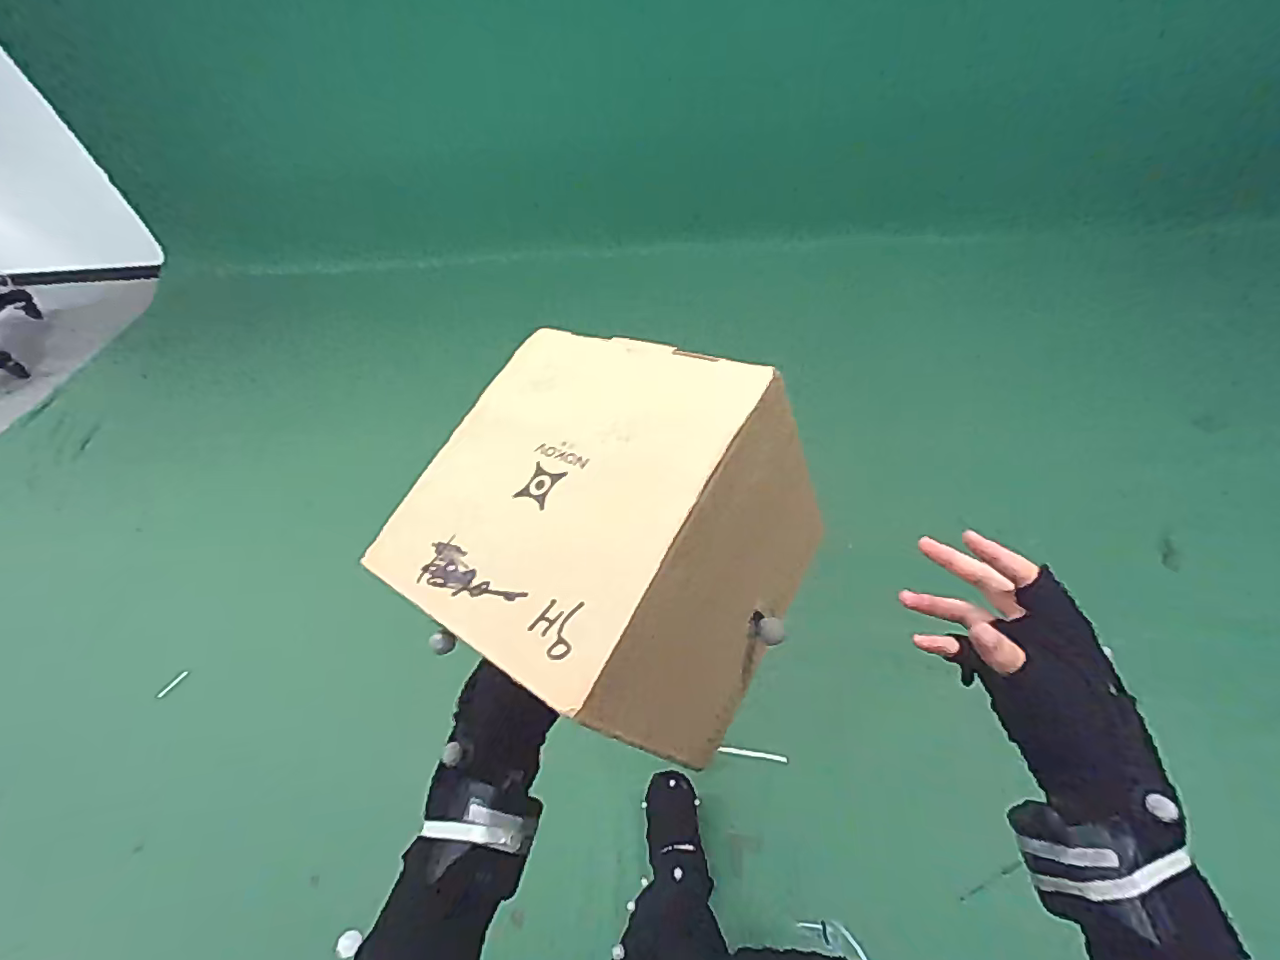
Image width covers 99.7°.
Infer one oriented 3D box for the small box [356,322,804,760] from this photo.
[{"bbox_3d":[-0.015,0.035,0.326,0.168,0.176,0.179,19,67,36],"label":"small box"}]
